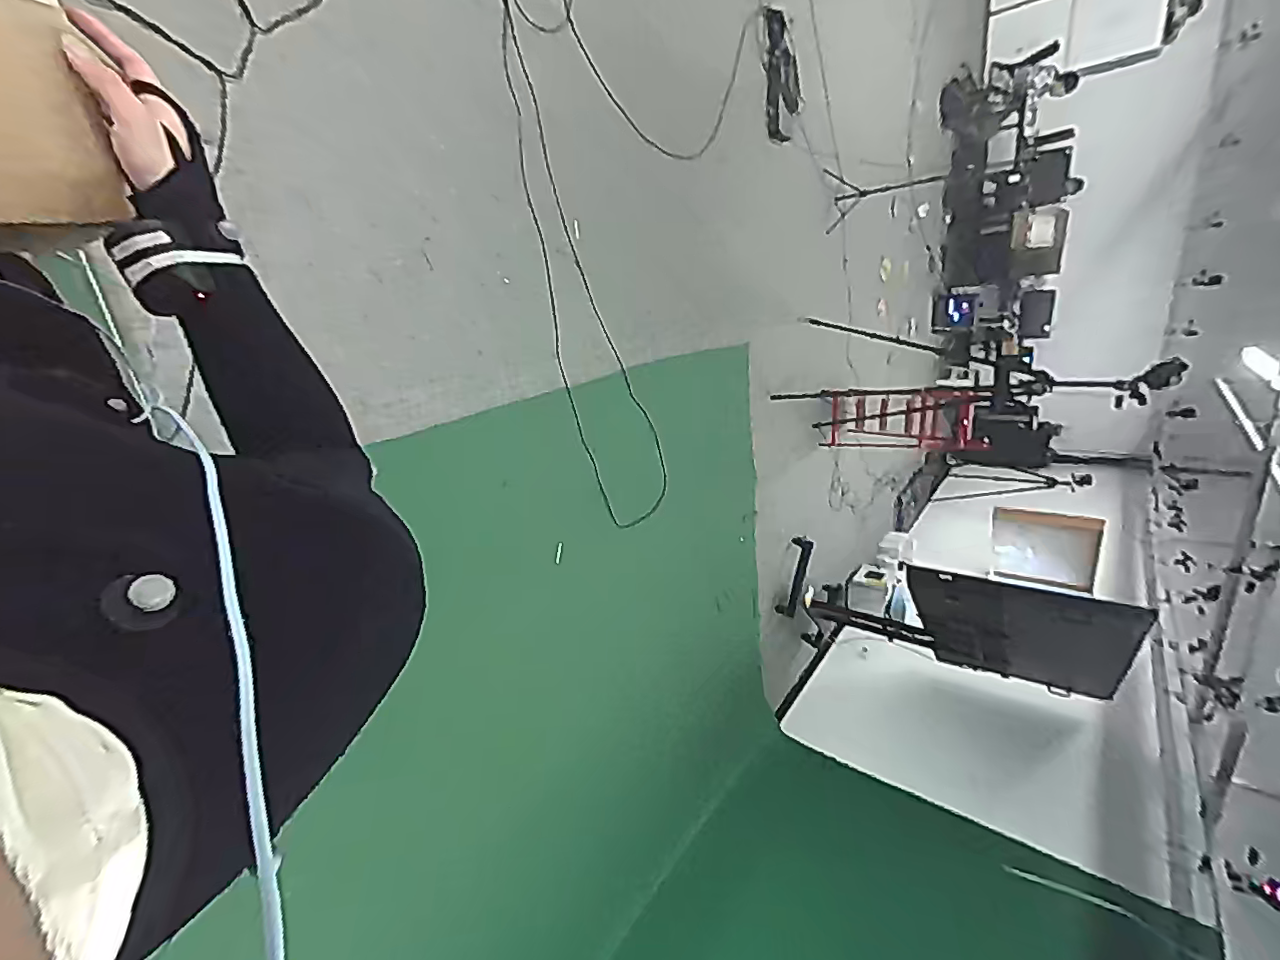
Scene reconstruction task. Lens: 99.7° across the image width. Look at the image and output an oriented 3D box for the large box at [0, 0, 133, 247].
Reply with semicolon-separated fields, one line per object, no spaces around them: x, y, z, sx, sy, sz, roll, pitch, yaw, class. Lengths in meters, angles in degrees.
-0.685;-0.328;0.358;0.408;0.320;0.320;-28;122;-46;large box
